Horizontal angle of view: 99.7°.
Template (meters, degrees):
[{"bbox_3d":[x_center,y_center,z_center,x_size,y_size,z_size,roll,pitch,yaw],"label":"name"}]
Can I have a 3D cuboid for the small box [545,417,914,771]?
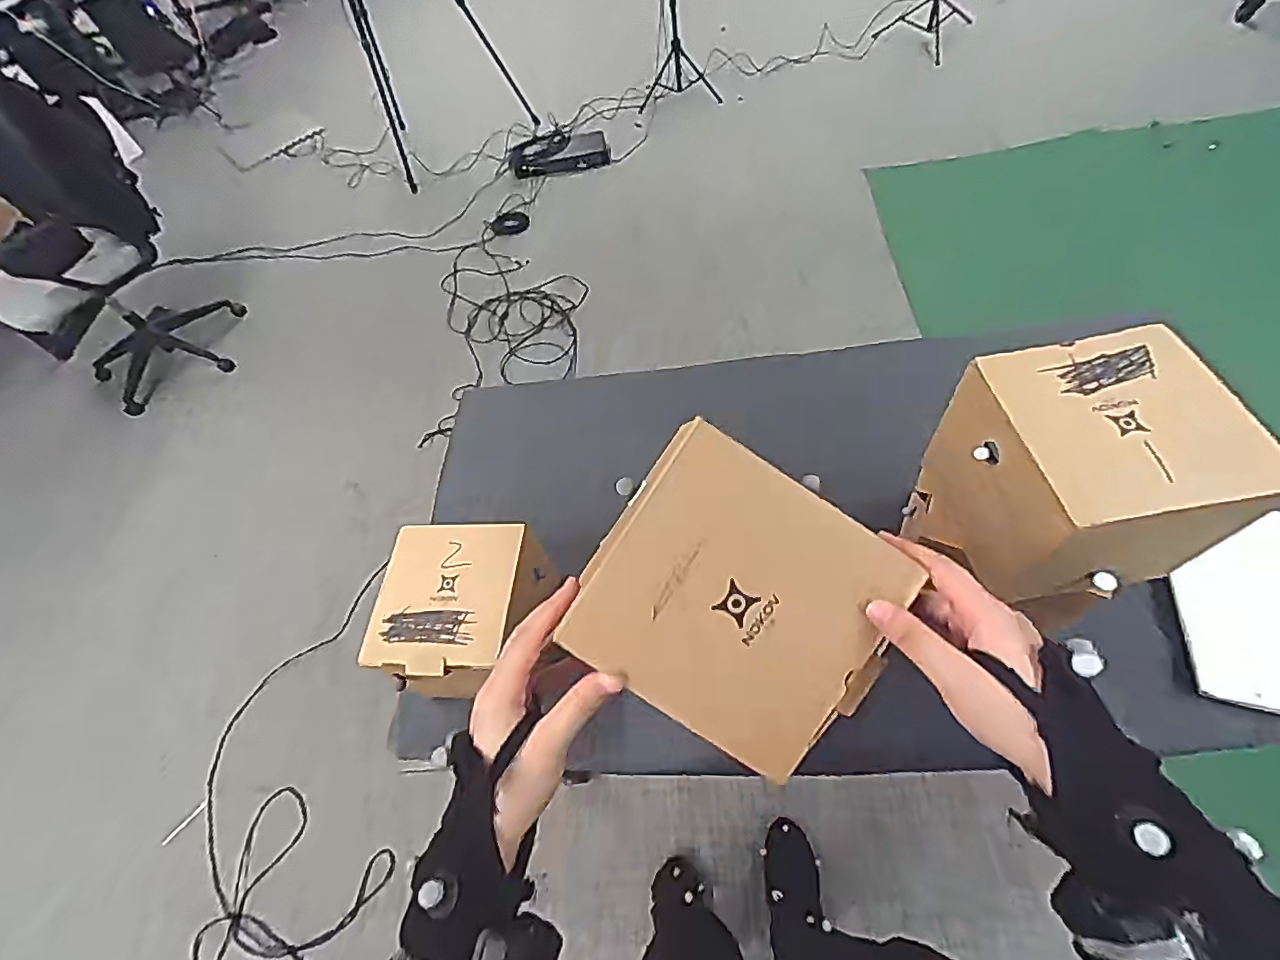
[{"bbox_3d":[0.056,0.067,0.414,0.179,0.176,0.168,32,92,-1],"label":"small box"}]

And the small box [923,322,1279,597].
[{"bbox_3d":[0.393,-0.012,0.500,0.168,0.176,0.179,-11,57,5],"label":"small box"}]

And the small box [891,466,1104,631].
[{"bbox_3d":[0.415,0.061,0.647,0.179,0.176,0.168,19,64,22],"label":"small box"}]
